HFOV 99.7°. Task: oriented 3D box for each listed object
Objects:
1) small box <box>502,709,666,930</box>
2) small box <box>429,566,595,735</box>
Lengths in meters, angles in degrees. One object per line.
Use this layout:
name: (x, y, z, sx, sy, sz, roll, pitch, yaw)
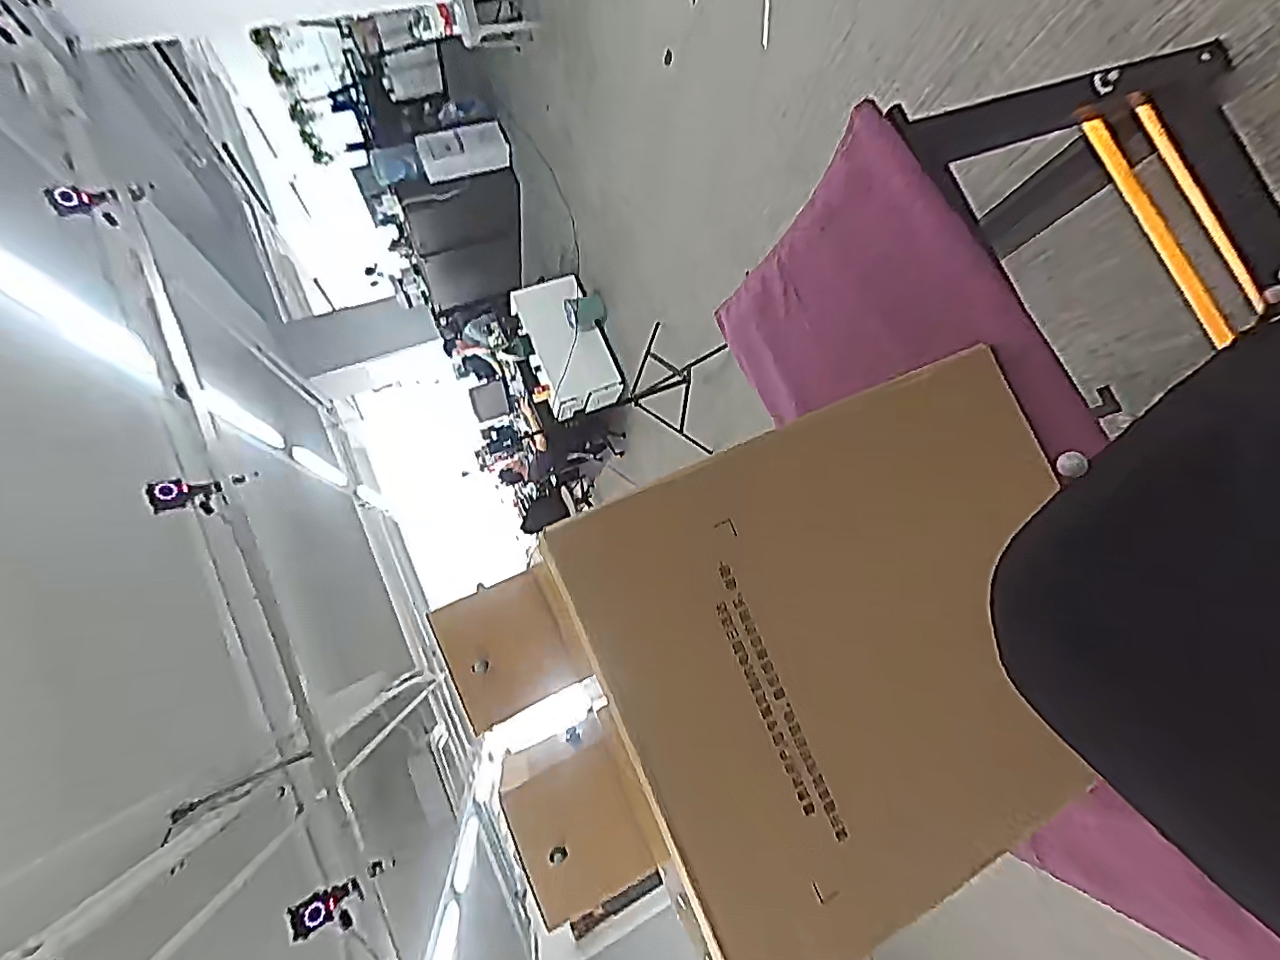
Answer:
small box: (-0.082, 0.457, 0.762, 0.179, 0.176, 0.168, 67, 163, 6)
small box: (-0.184, 0.238, 0.797, 0.179, 0.176, 0.168, 63, 164, 9)
